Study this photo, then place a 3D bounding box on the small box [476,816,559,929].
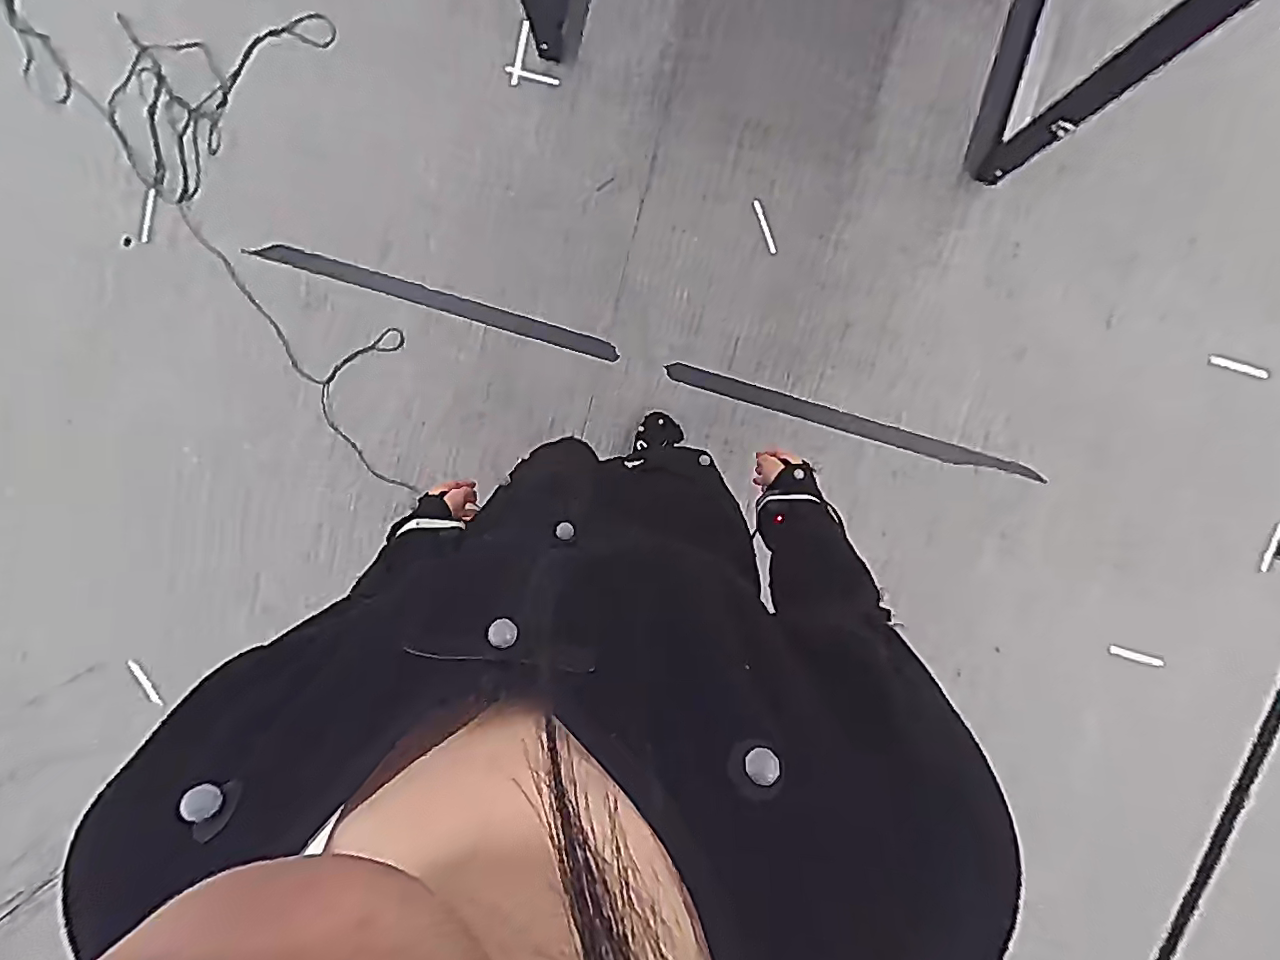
[{"bbox_3d":[-0.339,1.100,1.531,0.168,0.176,0.179,18,98,1],"label":"small box"}]
